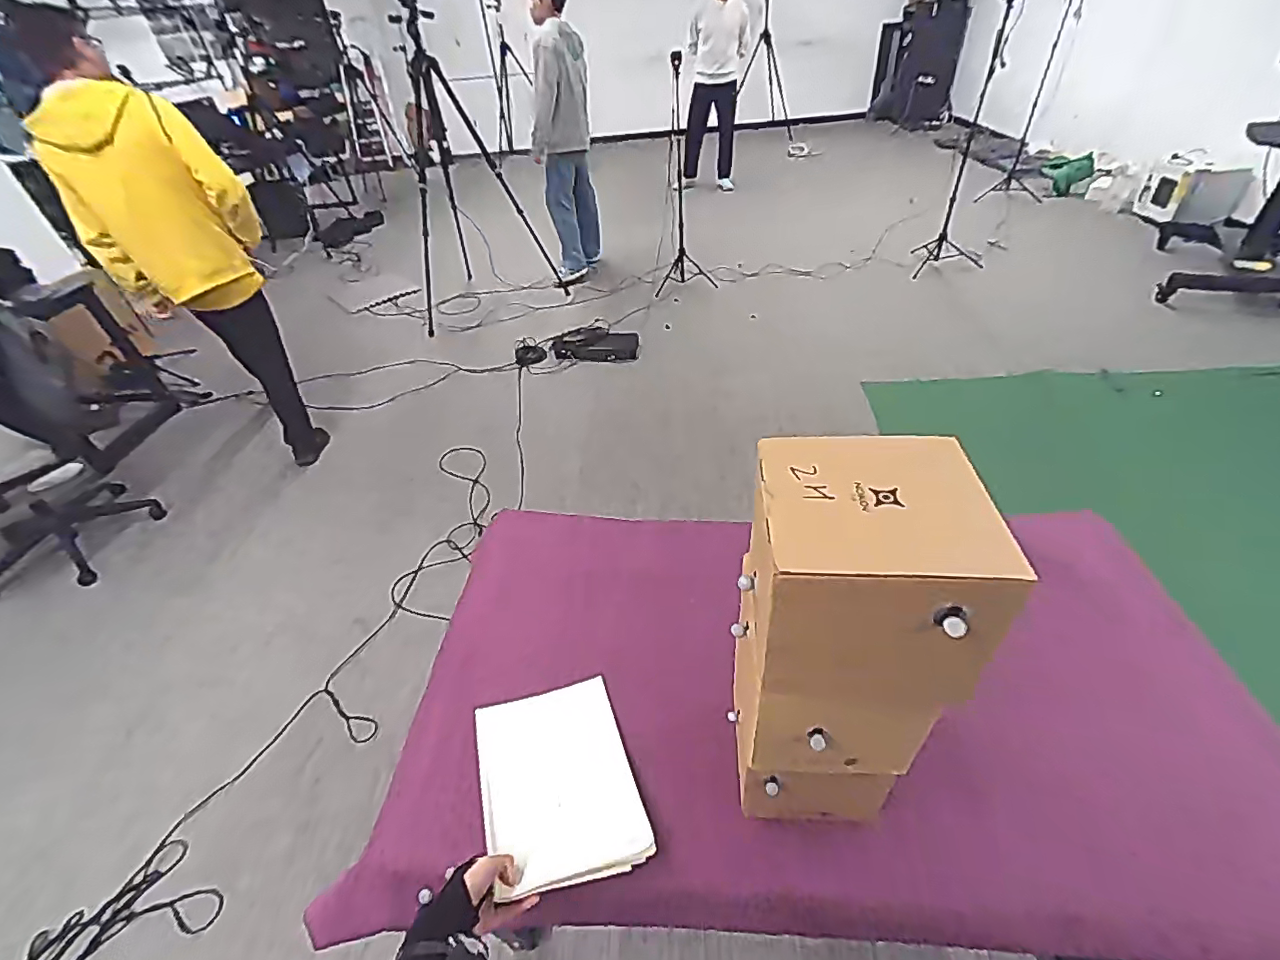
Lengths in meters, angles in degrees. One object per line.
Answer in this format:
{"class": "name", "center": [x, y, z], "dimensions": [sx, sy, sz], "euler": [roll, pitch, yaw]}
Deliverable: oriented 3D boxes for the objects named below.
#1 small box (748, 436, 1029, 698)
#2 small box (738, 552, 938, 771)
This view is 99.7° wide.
{"class": "small box", "center": [0.193, 0.077, 0.485], "dimensions": [0.179, 0.176, 0.168], "euler": [0, 39, 8]}
{"class": "small box", "center": [0.198, 0.198, 0.597], "dimensions": [0.168, 0.176, 0.179], "euler": [-1, 40, 6]}
